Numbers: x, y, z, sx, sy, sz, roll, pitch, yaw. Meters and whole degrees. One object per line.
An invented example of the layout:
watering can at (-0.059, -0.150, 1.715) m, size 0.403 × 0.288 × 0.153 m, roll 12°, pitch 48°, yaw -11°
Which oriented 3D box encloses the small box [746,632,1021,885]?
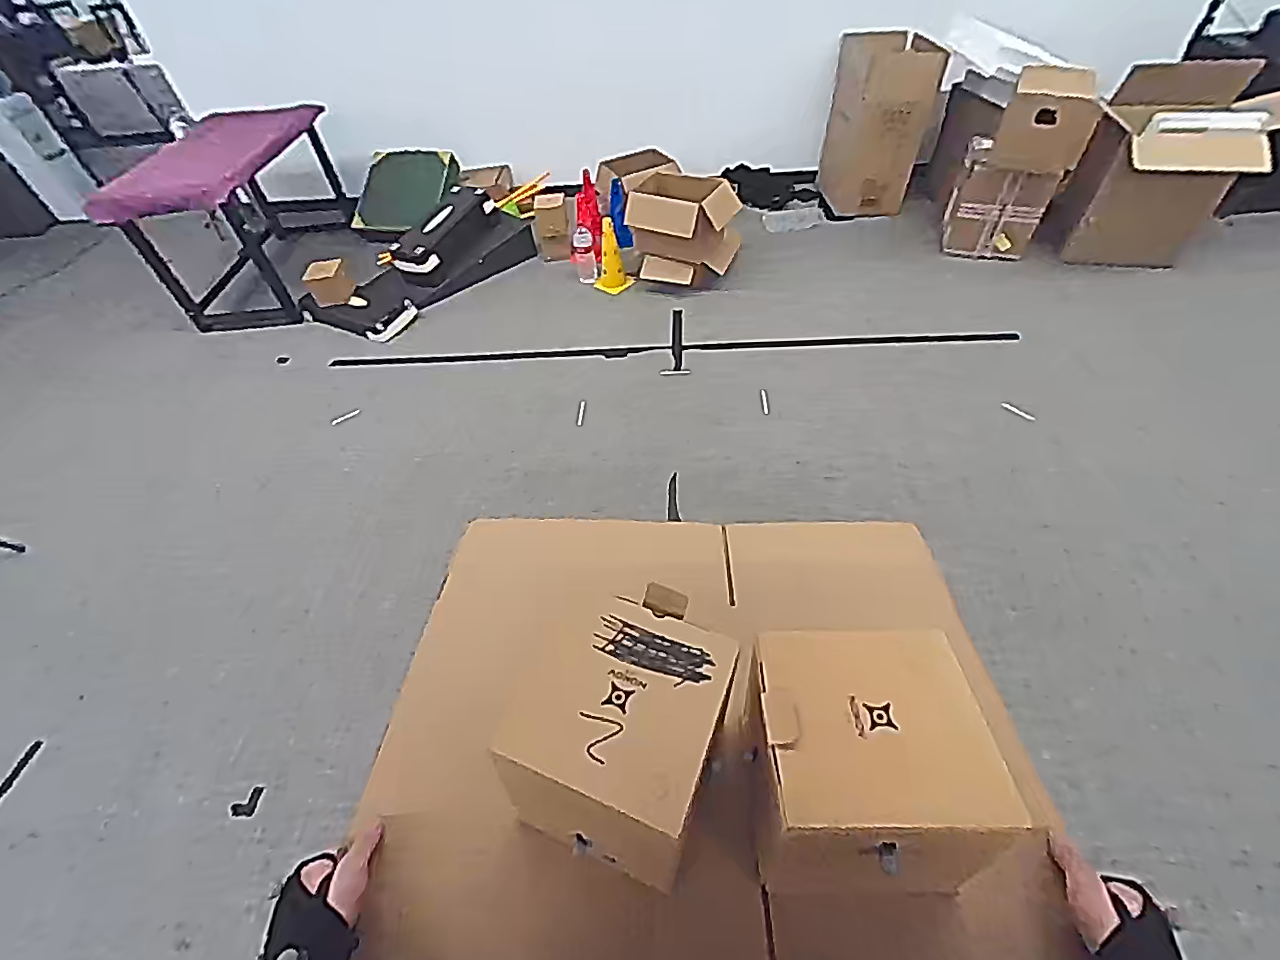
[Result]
small box at (0.202, 0.262, 0.513) m, size 0.179 × 0.176 × 0.168 m, roll -2°, pitch 41°, yaw 4°
